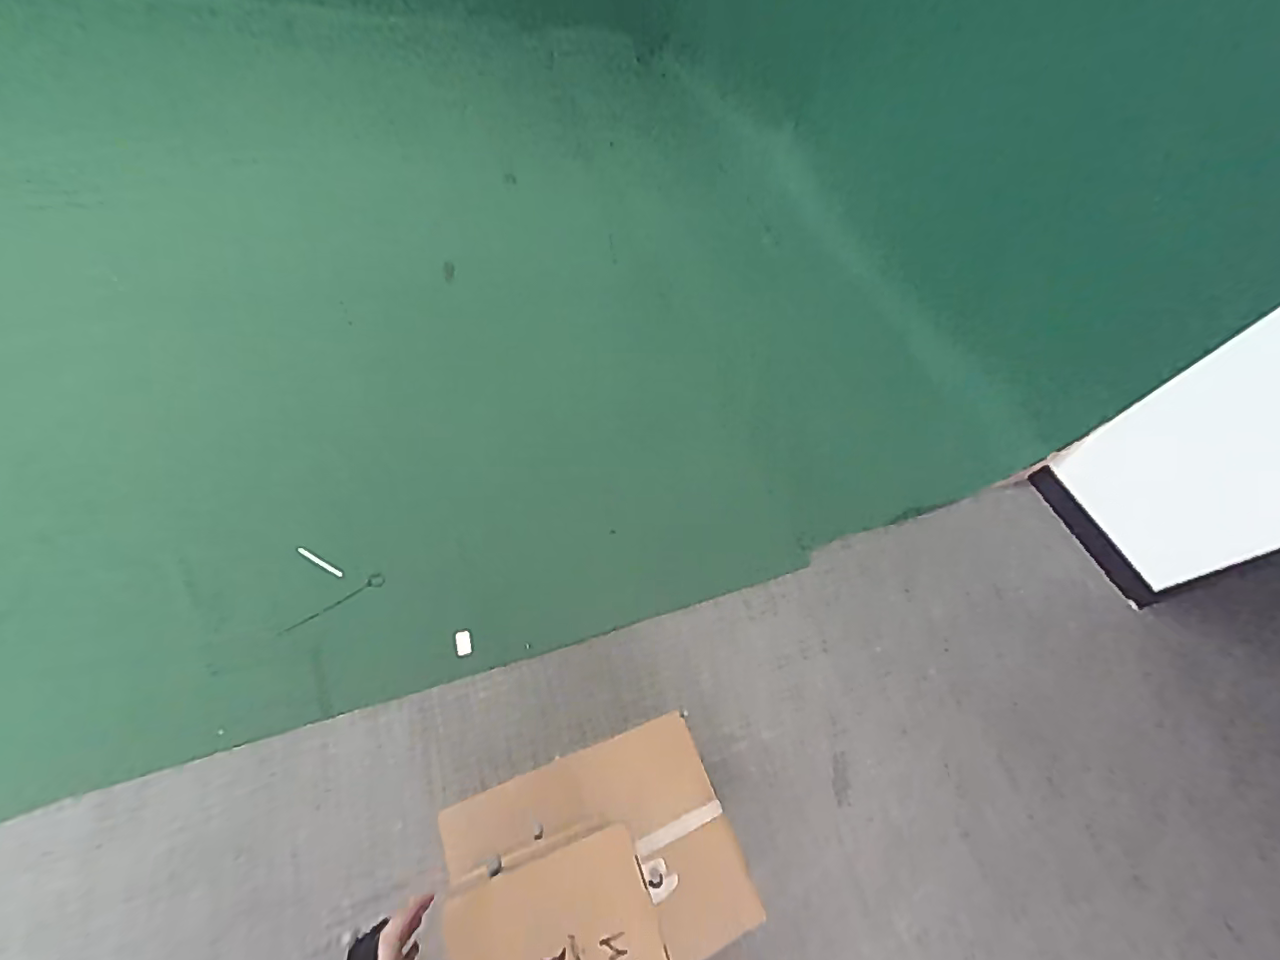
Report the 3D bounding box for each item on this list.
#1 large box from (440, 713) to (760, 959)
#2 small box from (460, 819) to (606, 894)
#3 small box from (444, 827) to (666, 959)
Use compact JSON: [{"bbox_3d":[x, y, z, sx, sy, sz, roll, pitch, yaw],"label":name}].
[{"bbox_3d":[-0.087,0.647,0.907,0.408,0.320,0.320,-13,62,-22],"label":"large box"},{"bbox_3d":[-0.114,0.546,0.670,0.179,0.176,0.168,-11,61,-21],"label":"small box"},{"bbox_3d":[-0.080,0.466,0.530,0.179,0.176,0.168,-11,62,-21],"label":"small box"}]
